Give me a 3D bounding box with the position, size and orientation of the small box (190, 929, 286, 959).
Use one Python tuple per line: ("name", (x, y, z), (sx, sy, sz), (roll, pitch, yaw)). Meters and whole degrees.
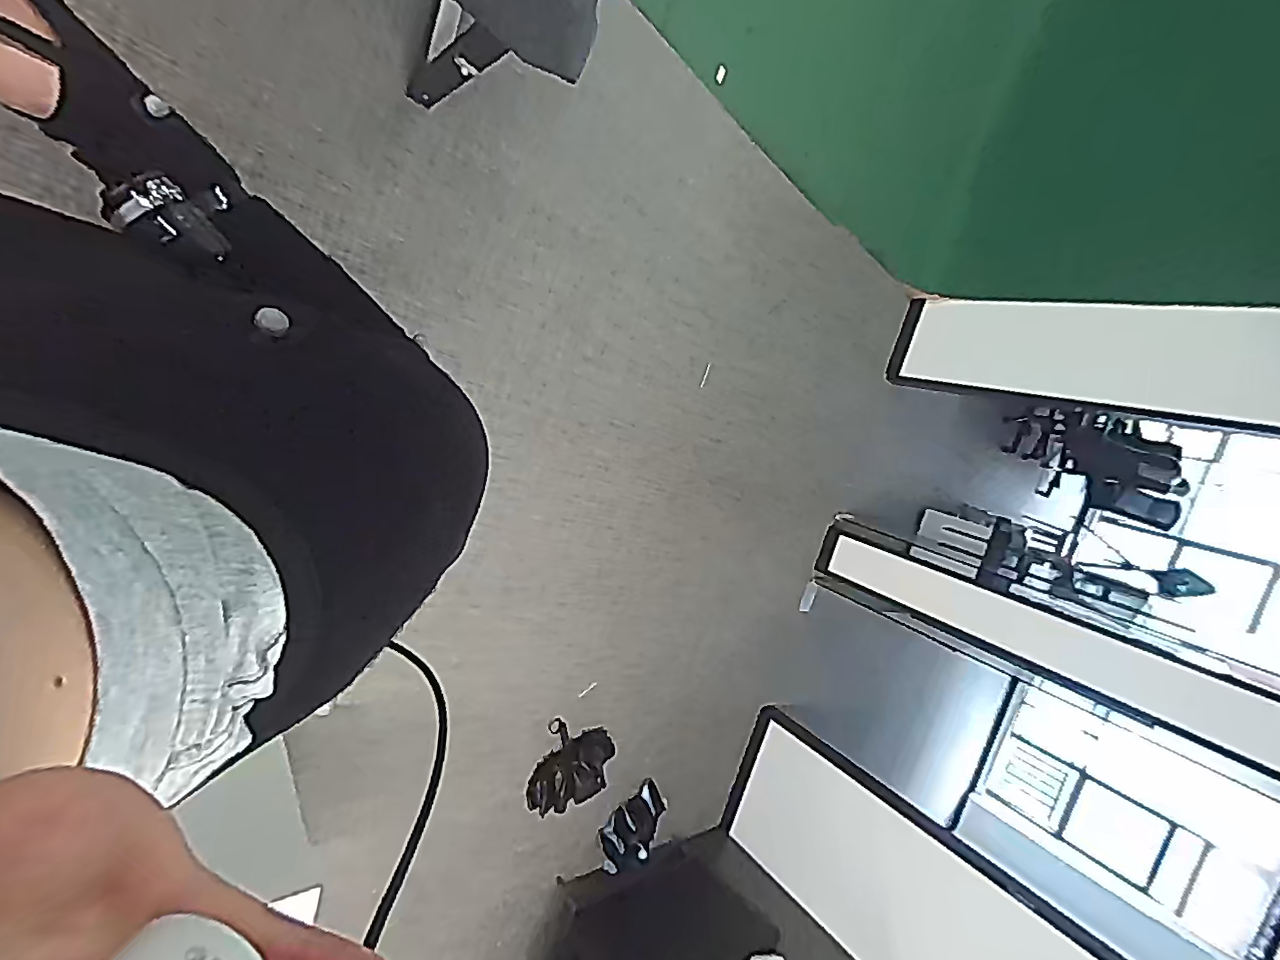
("small box", (-0.738, 0.974, 0.968), (0.168, 0.176, 0.179), (6, 103, -42))
